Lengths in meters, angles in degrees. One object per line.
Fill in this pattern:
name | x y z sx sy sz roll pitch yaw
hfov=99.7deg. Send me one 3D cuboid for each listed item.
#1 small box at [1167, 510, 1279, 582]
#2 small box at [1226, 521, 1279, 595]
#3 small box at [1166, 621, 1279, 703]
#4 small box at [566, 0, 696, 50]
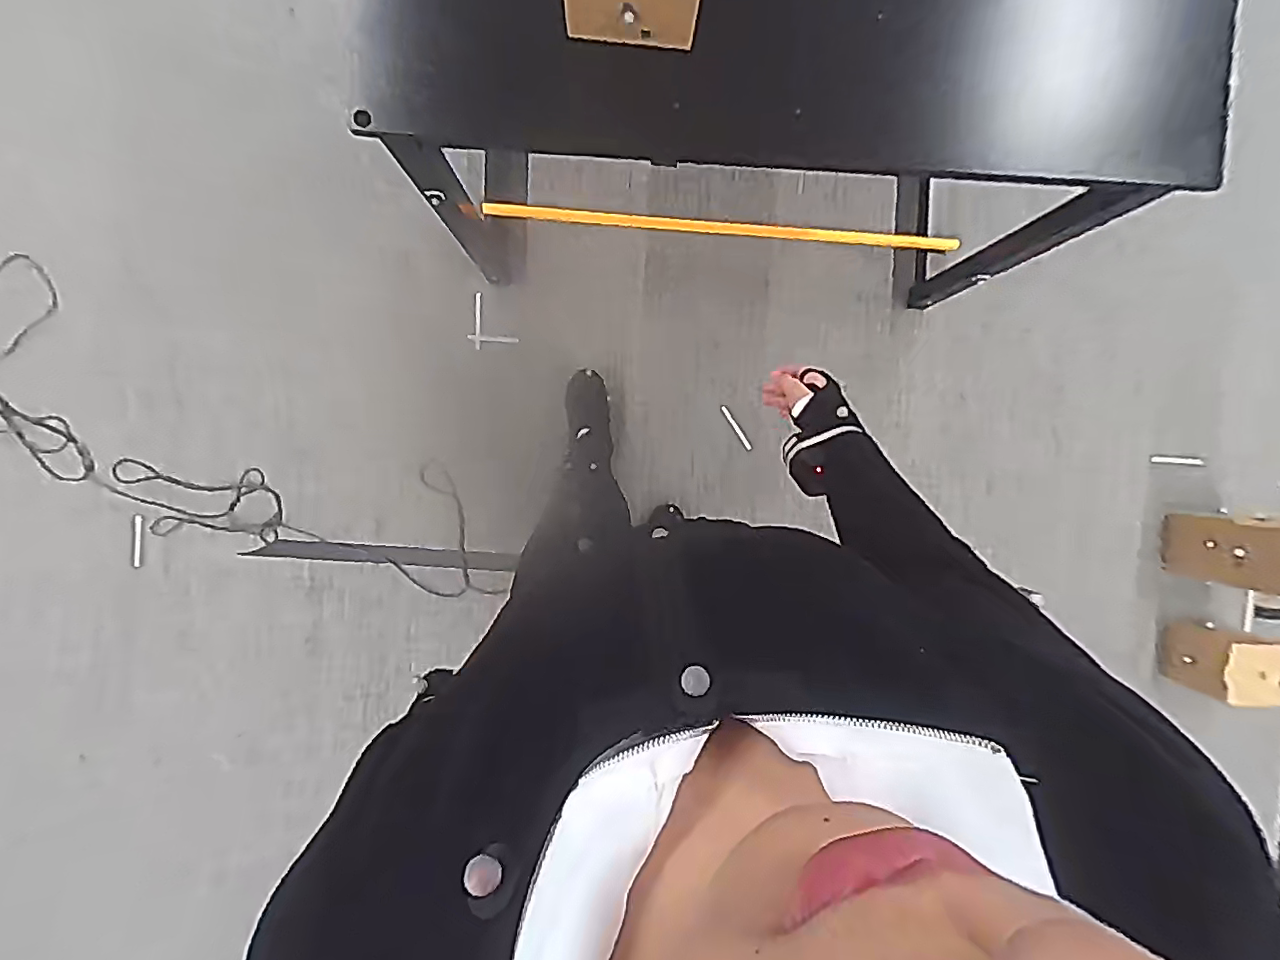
small box | 1.592 0.176 1.467 0.168 0.176 0.179 1 94 -2
small box | 1.594 0.188 1.305 0.179 0.176 0.168 -1 92 0
small box | 1.612 0.495 1.487 0.179 0.176 0.168 3 93 -1
small box | -0.007 -0.667 0.640 0.168 0.176 0.179 4 93 -2
